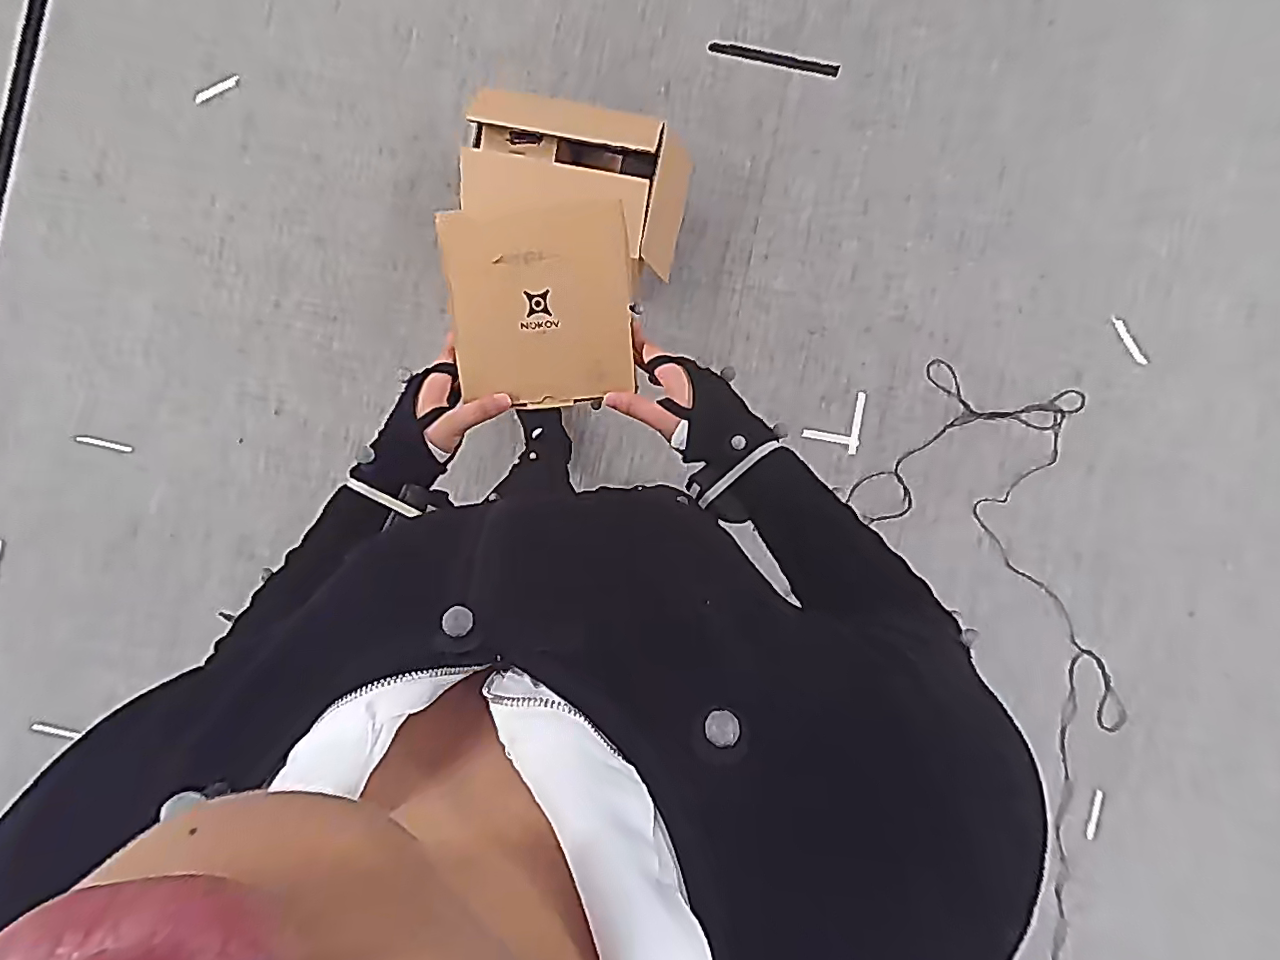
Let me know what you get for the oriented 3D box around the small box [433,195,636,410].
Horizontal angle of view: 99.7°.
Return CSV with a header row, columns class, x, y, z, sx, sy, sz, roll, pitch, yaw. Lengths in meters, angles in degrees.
class,x,y,z,sx,sy,sz,roll,pitch,yaw
small box,-0.091,-0.173,0.559,0.168,0.176,0.179,-5,103,1
